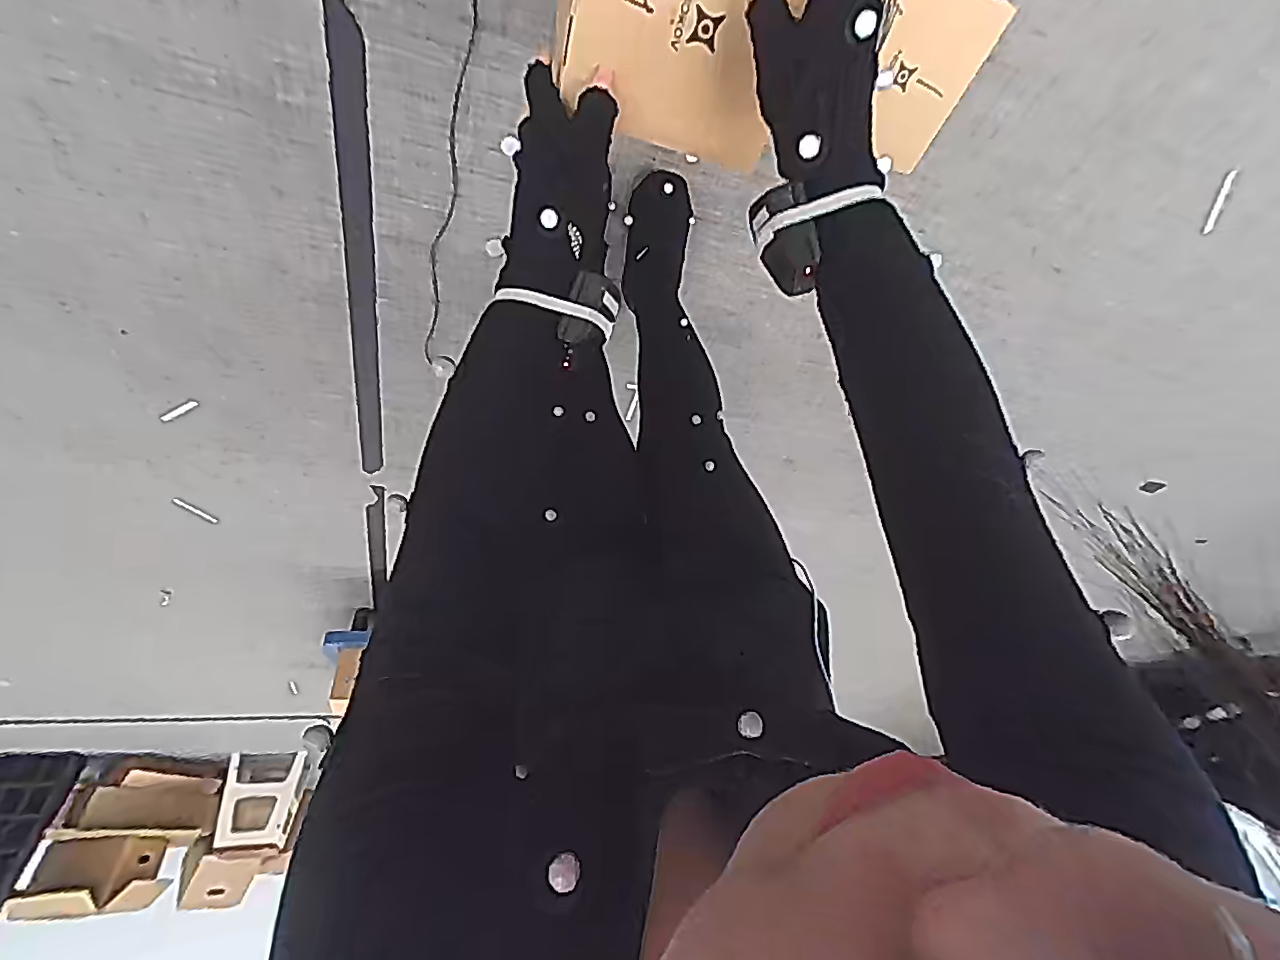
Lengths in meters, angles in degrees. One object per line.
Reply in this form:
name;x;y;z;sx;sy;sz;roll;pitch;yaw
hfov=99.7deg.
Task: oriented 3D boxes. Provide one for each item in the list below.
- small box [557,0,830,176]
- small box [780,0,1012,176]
small box;0.034;-0.389;0.443;0.179;0.176;0.168;8;138;-17
small box;0.259;-0.490;0.622;0.179;0.176;0.168;6;139;-20
